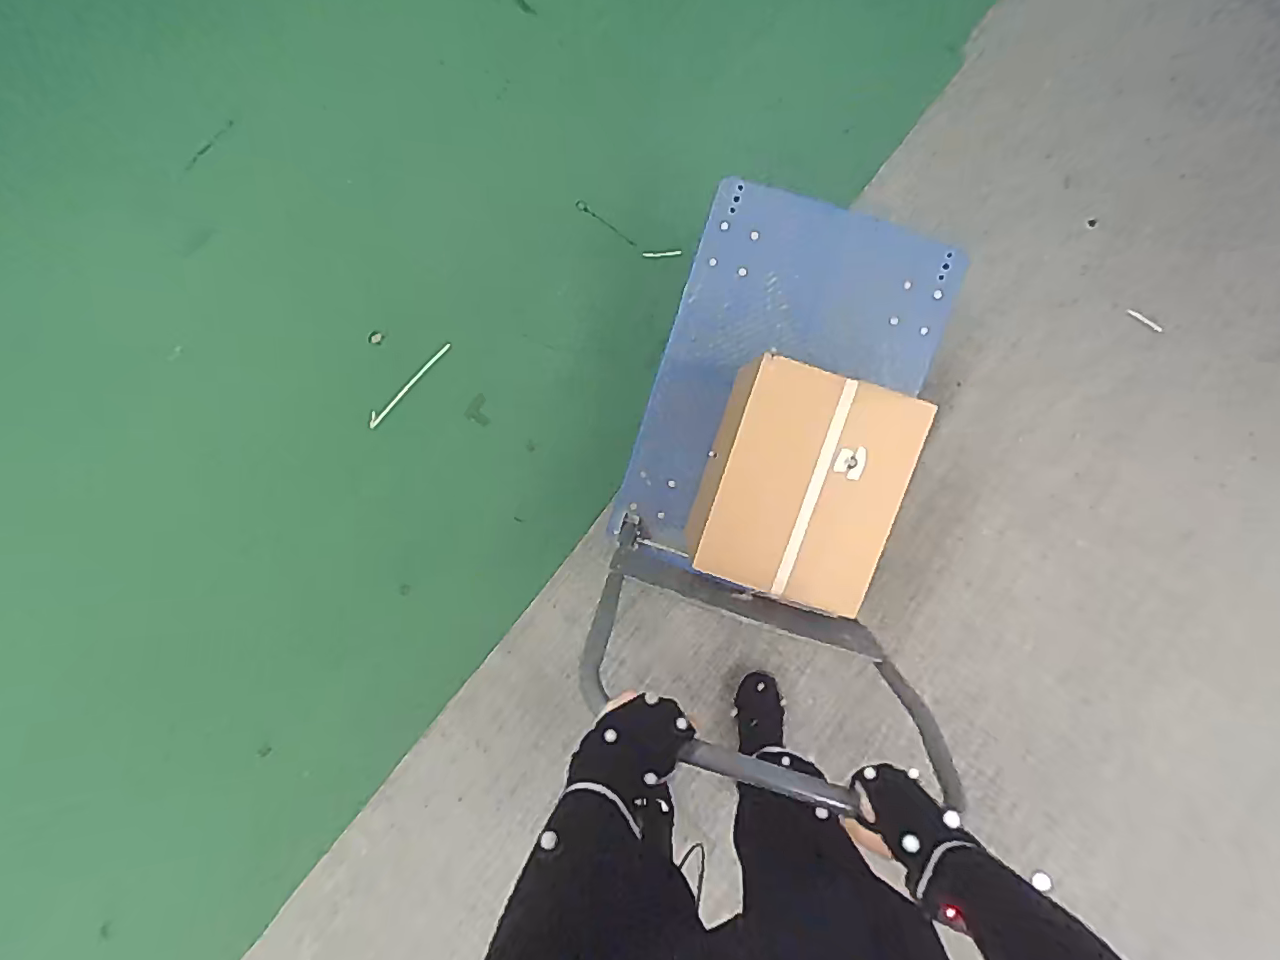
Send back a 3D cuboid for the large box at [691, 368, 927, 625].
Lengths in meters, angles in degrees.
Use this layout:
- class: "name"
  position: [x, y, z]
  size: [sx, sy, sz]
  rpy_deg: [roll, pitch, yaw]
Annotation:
- class: "large box"
  position: [0.310, 0.021, 1.118]
  size: [0.320, 0.320, 0.408]
  rpy_deg: [18, 97, 0]
